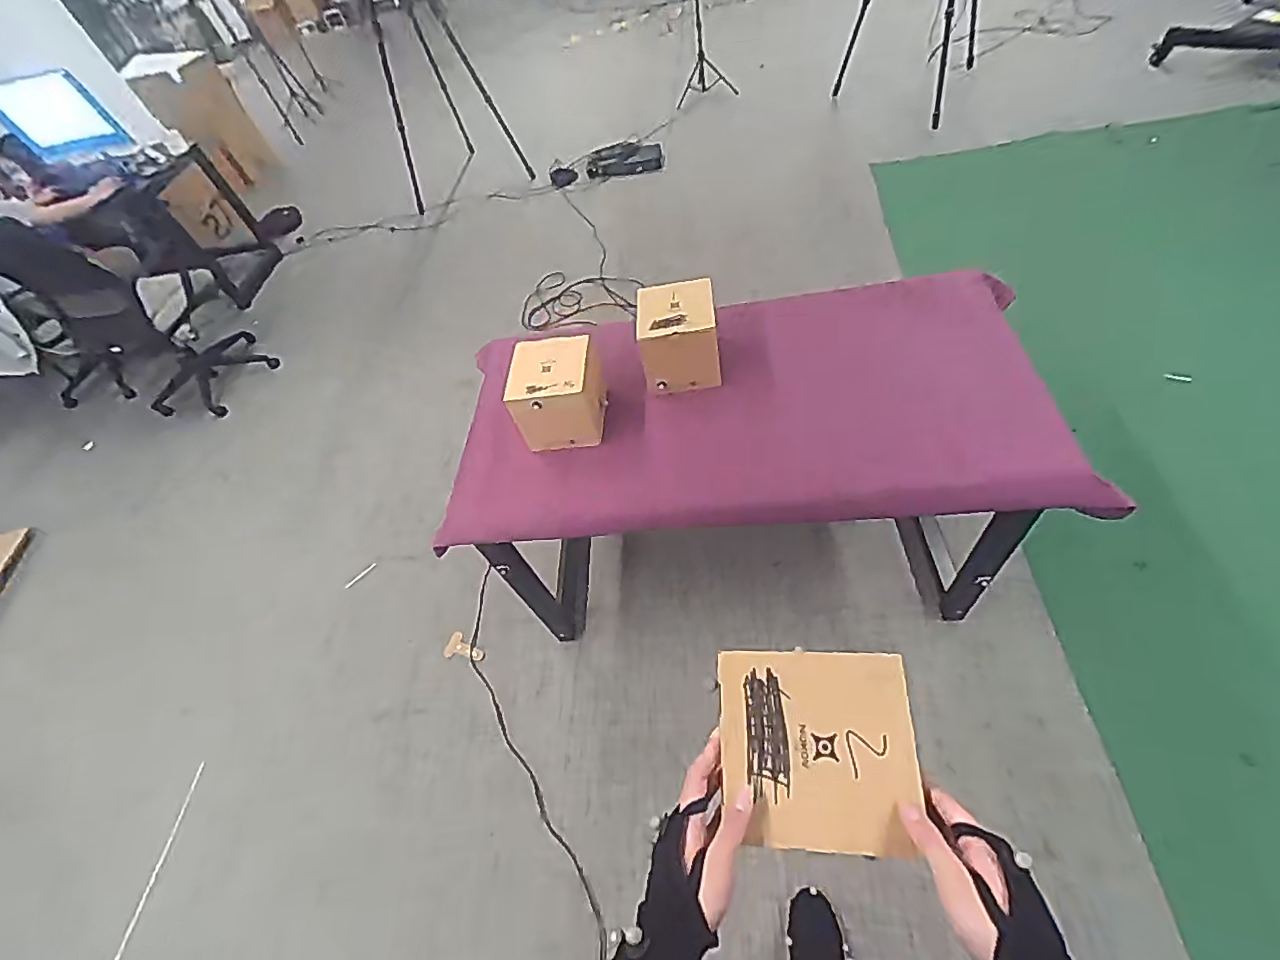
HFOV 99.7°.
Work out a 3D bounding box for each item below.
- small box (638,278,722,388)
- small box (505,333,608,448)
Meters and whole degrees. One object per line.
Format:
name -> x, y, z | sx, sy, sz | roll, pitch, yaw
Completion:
small box -> 0.092, -0.321, 1.216 | 0.168, 0.176, 0.179 | -6, 53, 9
small box -> -0.172, -0.192, 1.181 | 0.168, 0.176, 0.179 | -5, 53, 11
